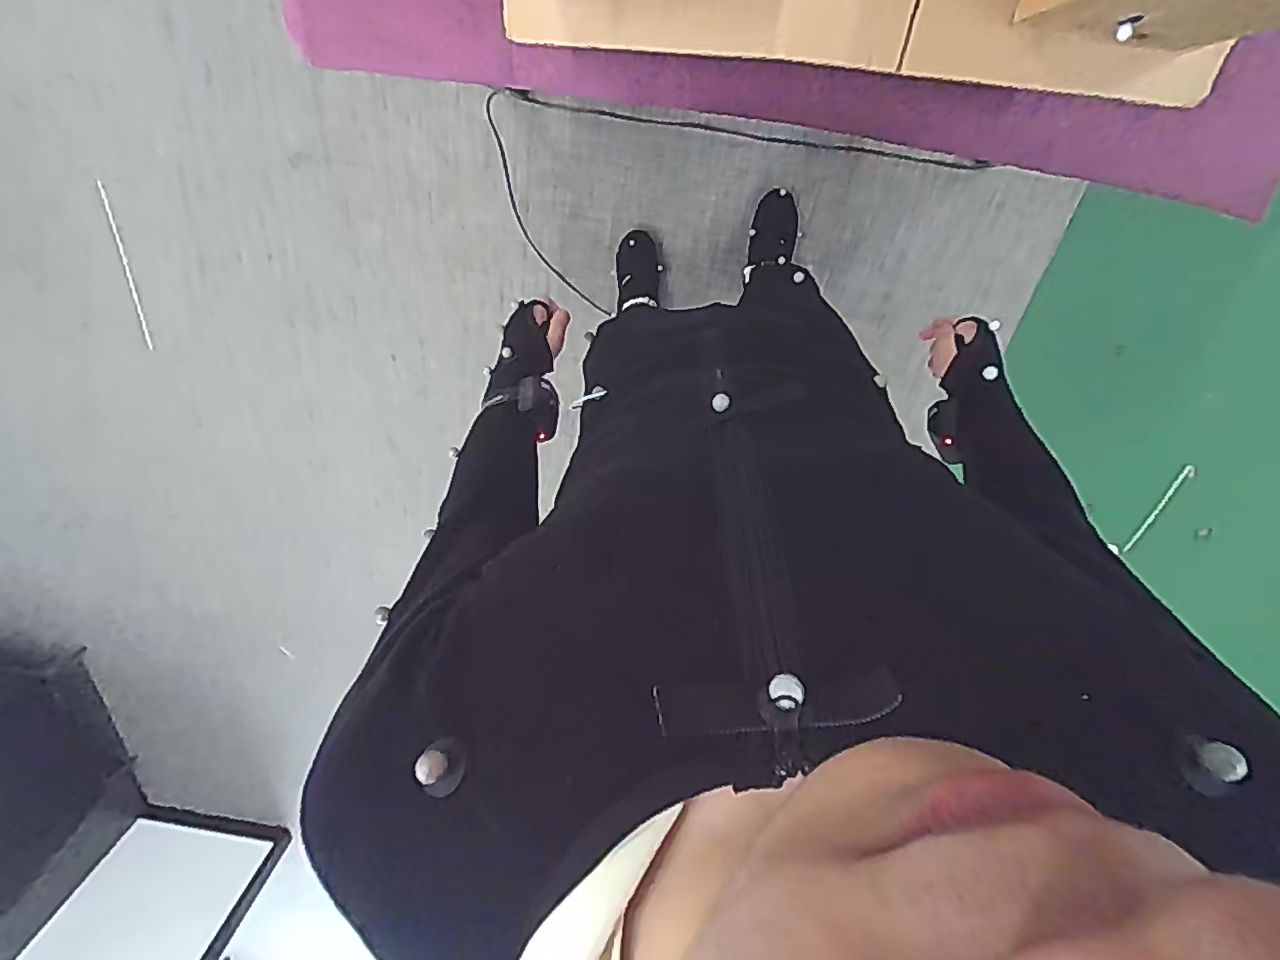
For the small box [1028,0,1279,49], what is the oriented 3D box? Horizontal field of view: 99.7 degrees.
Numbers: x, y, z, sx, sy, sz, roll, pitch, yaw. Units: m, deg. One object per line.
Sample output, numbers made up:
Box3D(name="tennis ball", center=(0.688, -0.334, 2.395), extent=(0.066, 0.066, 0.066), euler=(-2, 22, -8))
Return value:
Box3D(name="small box", center=(0.420, -0.430, 0.371), extent=(0.168, 0.176, 0.179), euler=(6, 120, -1))
